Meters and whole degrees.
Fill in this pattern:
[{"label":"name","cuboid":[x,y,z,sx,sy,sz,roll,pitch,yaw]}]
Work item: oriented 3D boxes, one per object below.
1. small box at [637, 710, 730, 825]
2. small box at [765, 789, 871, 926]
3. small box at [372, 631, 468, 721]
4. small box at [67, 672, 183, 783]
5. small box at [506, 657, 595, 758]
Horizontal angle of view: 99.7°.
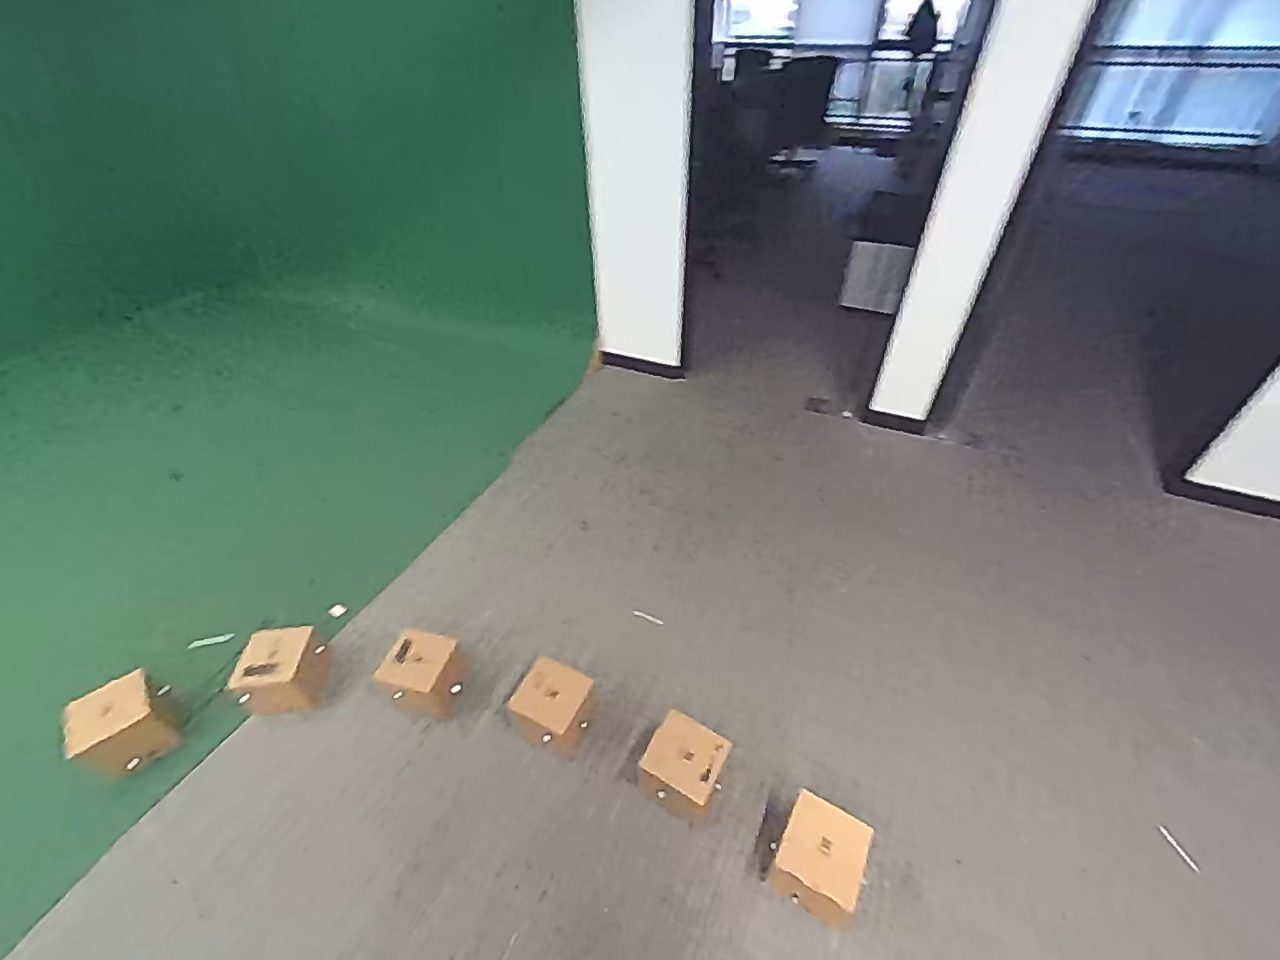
[{"label":"small box","cuboid":[0.107,0.722,1.353,0.179,0.176,0.168,21,46,24]},{"label":"small box","cuboid":[0.393,0.845,1.211,0.168,0.176,0.179,21,46,23]},{"label":"small box","cuboid":[-0.620,0.563,1.548,0.179,0.176,0.168,9,42,10]},{"label":"small box","cuboid":[-1.374,0.664,1.449,0.168,0.176,0.179,-30,48,-29]},{"label":"small box","cuboid":[-0.235,0.624,1.471,0.179,0.176,0.168,18,43,20]}]
